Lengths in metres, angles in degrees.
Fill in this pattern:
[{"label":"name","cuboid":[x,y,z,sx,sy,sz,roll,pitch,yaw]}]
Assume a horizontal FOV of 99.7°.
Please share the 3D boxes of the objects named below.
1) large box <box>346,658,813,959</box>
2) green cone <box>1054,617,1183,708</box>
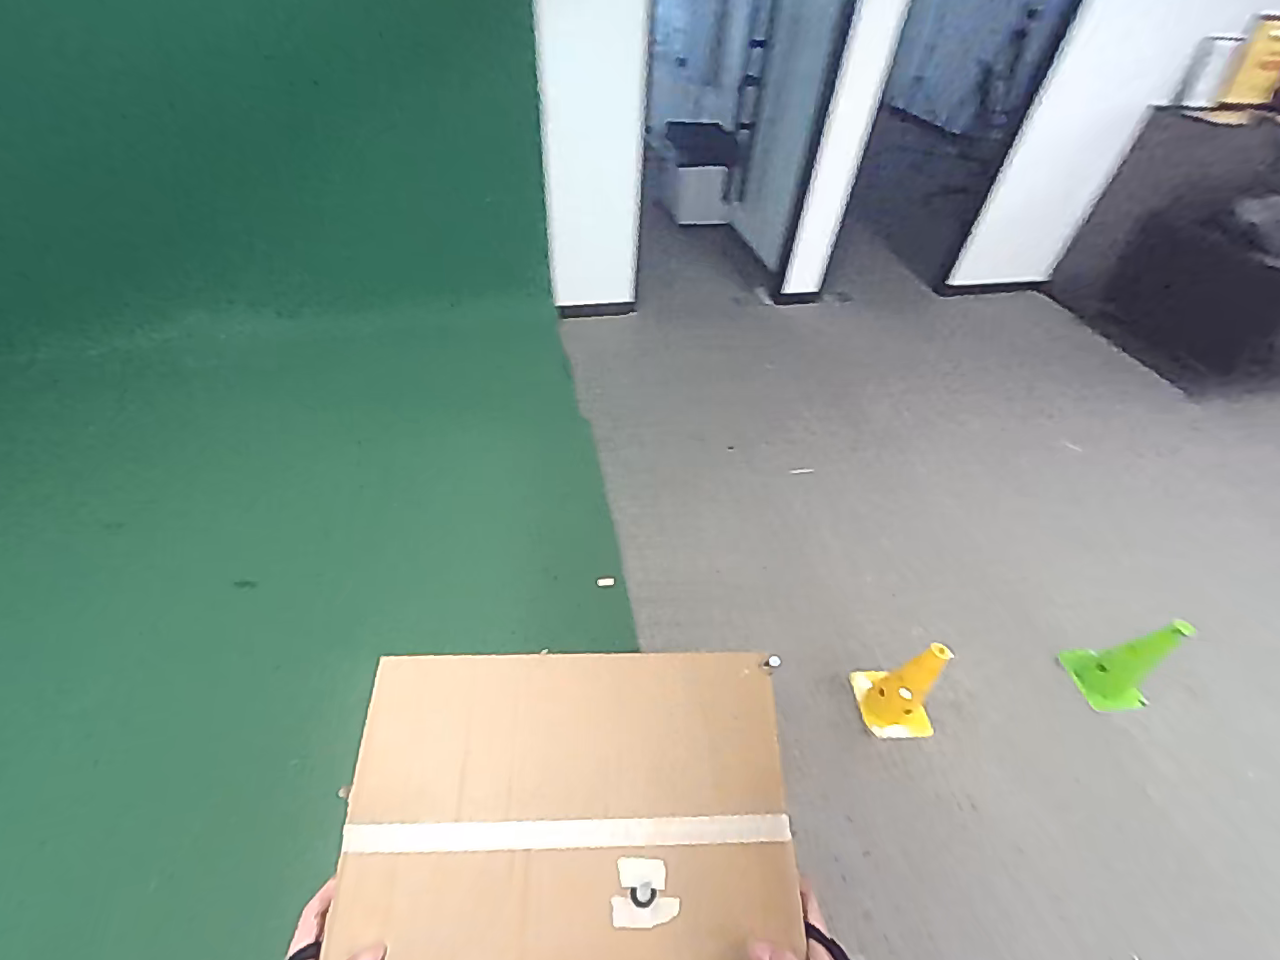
[{"label":"large box","cuboid":[-0.058,0.399,0.631,0.408,0.320,0.320,1,62,-2]},{"label":"green cone","cuboid":[1.519,0.527,1.666,0.202,0.368,0.200,-3,46,-6]}]
